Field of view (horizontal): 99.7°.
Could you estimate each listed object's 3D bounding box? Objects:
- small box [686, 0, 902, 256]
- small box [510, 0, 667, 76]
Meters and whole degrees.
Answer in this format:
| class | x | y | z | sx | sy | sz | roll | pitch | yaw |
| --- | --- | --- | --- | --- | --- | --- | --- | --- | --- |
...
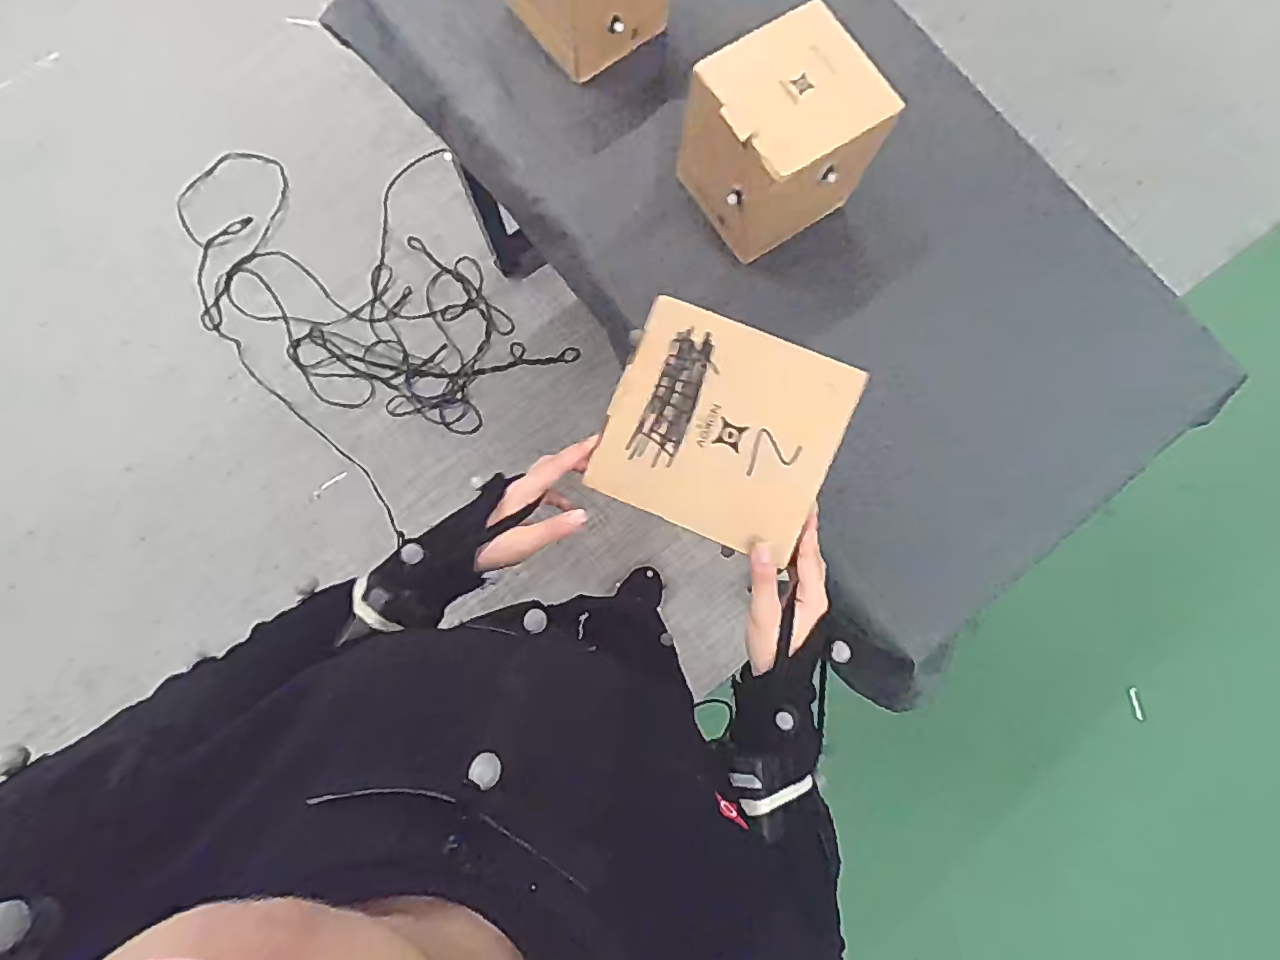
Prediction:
| class | x | y | z | sx | sy | sz | roll | pitch | yaw |
| --- | --- | --- | --- | --- | --- | --- | --- | --- | --- |
| small box | 0.170 | -0.416 | 0.668 | 0.179 | 0.176 | 0.168 | -33 | 85 | -8 |
| small box | -0.075 | -0.688 | 0.702 | 0.168 | 0.176 | 0.179 | -39 | 85 | -8 |
